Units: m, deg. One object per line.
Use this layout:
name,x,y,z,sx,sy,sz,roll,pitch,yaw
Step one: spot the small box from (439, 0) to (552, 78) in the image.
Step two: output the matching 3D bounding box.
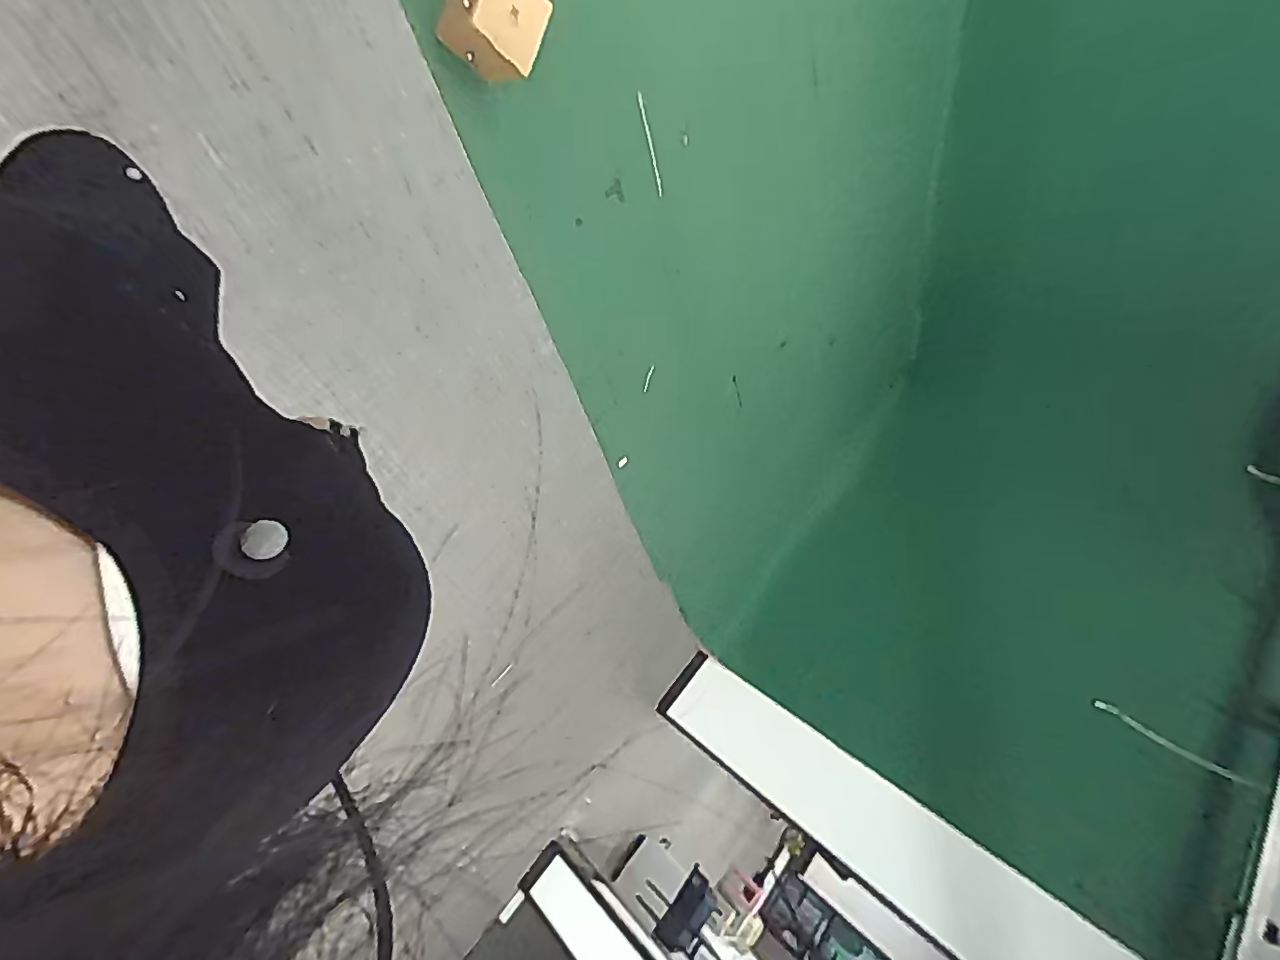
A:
small box,-0.344,-1.094,1.274,0.168,0.176,0.179,14,102,-53
